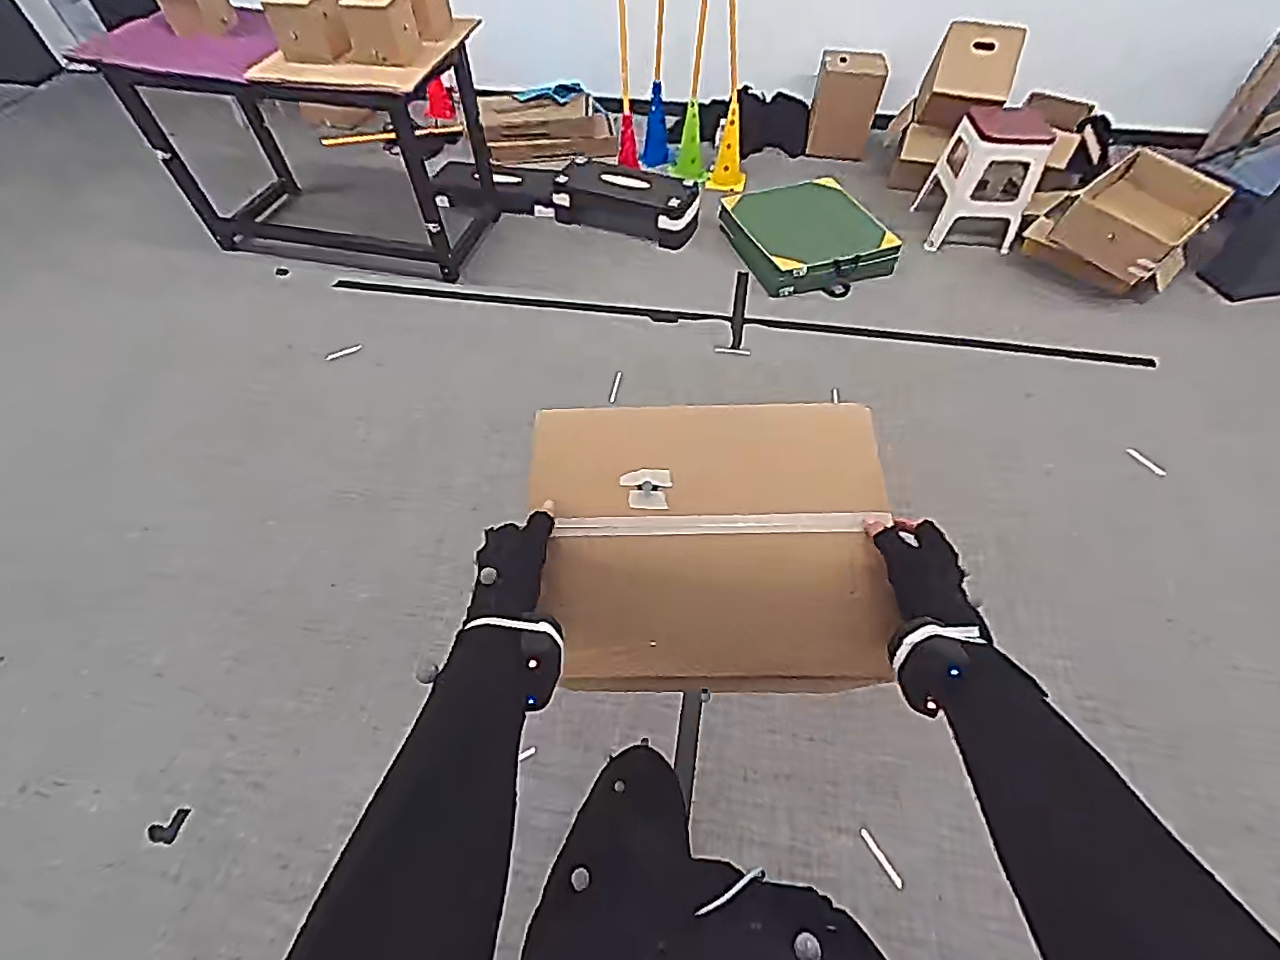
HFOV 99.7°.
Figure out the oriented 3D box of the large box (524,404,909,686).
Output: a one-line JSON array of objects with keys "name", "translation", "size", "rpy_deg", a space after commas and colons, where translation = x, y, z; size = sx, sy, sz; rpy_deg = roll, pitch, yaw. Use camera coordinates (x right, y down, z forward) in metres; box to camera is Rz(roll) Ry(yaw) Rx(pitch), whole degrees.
[{"name": "large box", "translation": [0.085, 0.113, 0.750], "size": [0.408, 0.320, 0.320], "rpy_deg": [-2, 65, 3]}]
